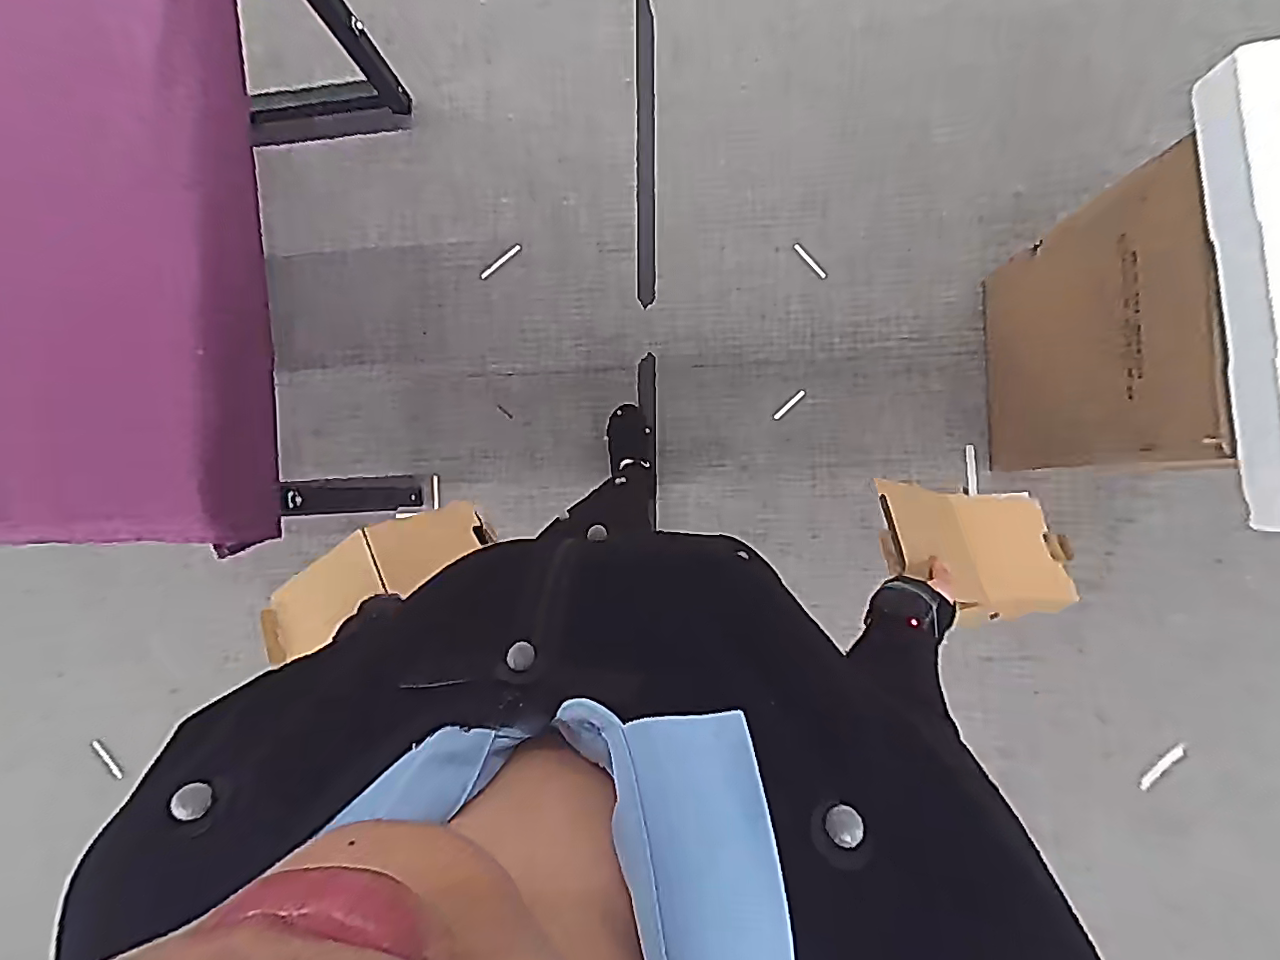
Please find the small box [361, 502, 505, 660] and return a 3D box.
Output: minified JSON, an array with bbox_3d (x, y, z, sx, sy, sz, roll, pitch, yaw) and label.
[{"bbox_3d":[-0.341,0.167,0.895,0.179,0.176,0.168,-15,52,-33],"label":"small box"}]
